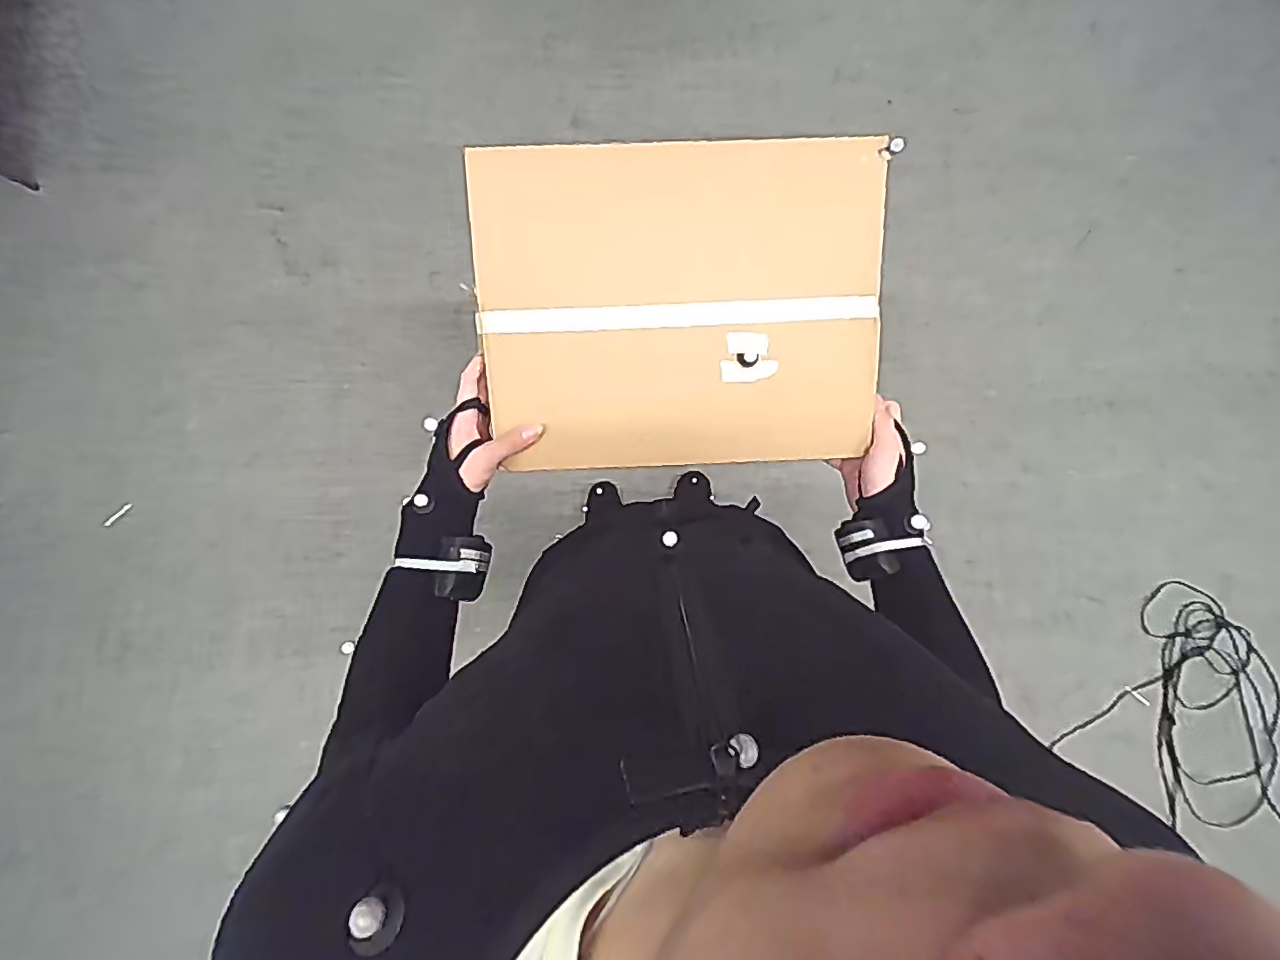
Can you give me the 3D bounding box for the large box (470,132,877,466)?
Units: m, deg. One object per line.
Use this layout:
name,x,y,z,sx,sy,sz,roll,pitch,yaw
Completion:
large box,0.035,-0.209,0.699,0.408,0.320,0.320,-3,104,-2
